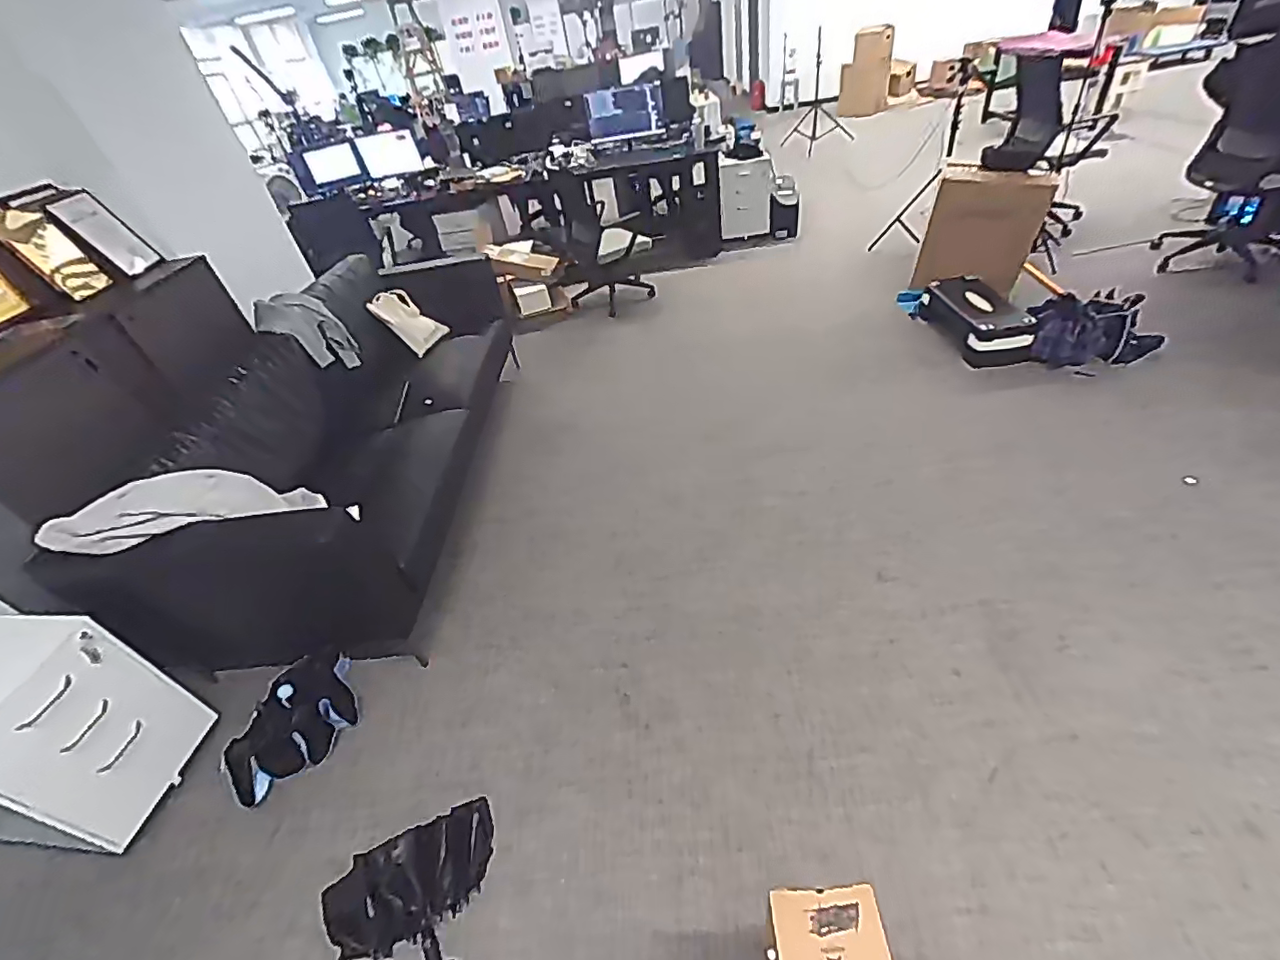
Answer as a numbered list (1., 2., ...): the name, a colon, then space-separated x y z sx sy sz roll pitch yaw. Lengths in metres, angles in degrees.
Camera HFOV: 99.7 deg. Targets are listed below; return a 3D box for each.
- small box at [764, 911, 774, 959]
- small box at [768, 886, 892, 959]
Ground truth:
1. small box: 0.320 0.889 0.963 0.168 0.176 0.179 -7 41 4
2. small box: 0.300 0.768 0.853 0.168 0.176 0.179 -7 43 5
